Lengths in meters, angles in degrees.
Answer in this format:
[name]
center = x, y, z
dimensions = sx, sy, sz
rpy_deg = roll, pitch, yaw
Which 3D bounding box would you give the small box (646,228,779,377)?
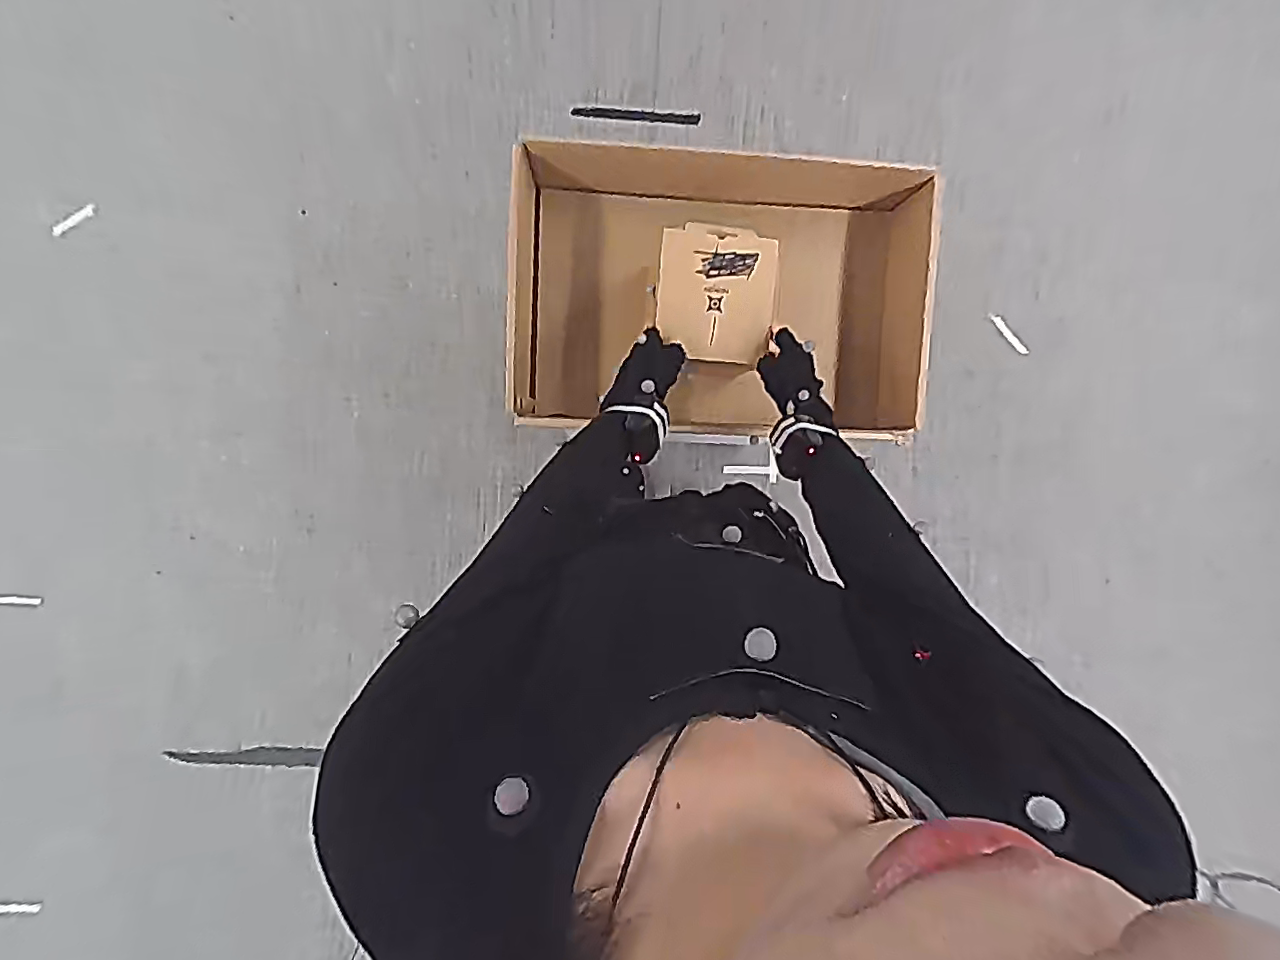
[small box]
center = 0.100, -0.259, 0.828
dimensions = 0.168, 0.176, 0.179
rpy_deg = 4, 96, -4
